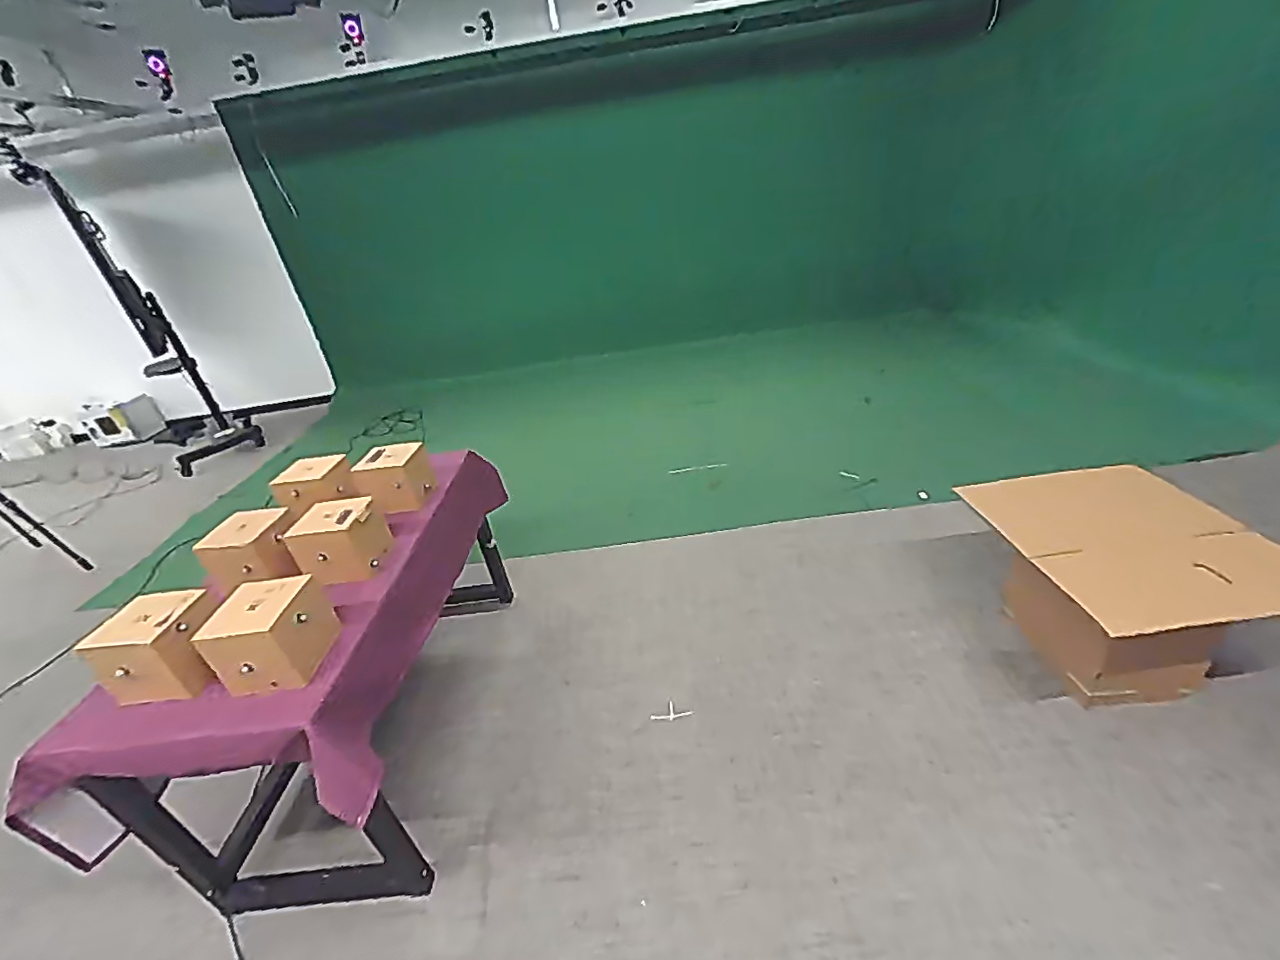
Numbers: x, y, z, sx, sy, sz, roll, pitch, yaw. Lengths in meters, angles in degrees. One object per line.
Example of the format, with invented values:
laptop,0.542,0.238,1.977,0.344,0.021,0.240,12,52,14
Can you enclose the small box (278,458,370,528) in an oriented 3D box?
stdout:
small box,-1.038,0.047,1.794,0.179,0.176,0.168,-7,30,7

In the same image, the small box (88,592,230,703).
small box,-1.035,0.376,1.206,0.179,0.176,0.168,-8,29,5

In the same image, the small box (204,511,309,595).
small box,-1.042,0.209,1.509,0.168,0.176,0.179,-6,29,7

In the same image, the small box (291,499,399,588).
small box,-0.796,0.174,1.485,0.179,0.176,0.168,-8,29,6

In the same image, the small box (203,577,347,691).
small box,-0.780,0.341,1.182,0.168,0.176,0.179,-8,29,4
